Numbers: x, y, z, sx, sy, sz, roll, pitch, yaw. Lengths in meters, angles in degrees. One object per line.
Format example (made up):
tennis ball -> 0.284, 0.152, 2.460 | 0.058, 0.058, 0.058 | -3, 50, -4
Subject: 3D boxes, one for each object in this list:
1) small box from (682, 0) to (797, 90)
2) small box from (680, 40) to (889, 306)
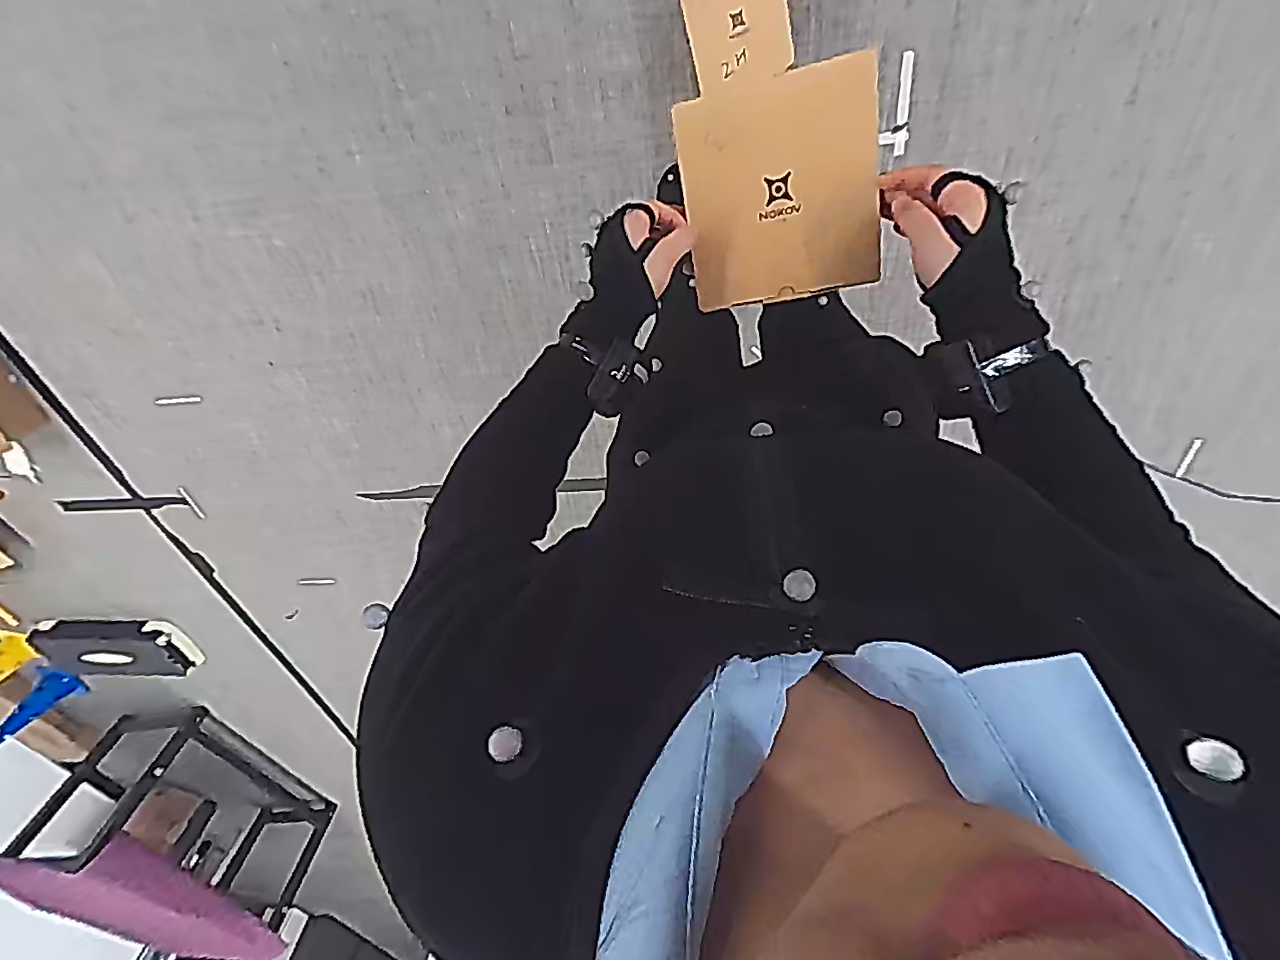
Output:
small box -> 0.172, -0.805, 0.961 | 0.168, 0.176, 0.179 | -12, 125, 15
small box -> 0.142, -0.287, 0.535 | 0.168, 0.176, 0.179 | -6, 117, 16
